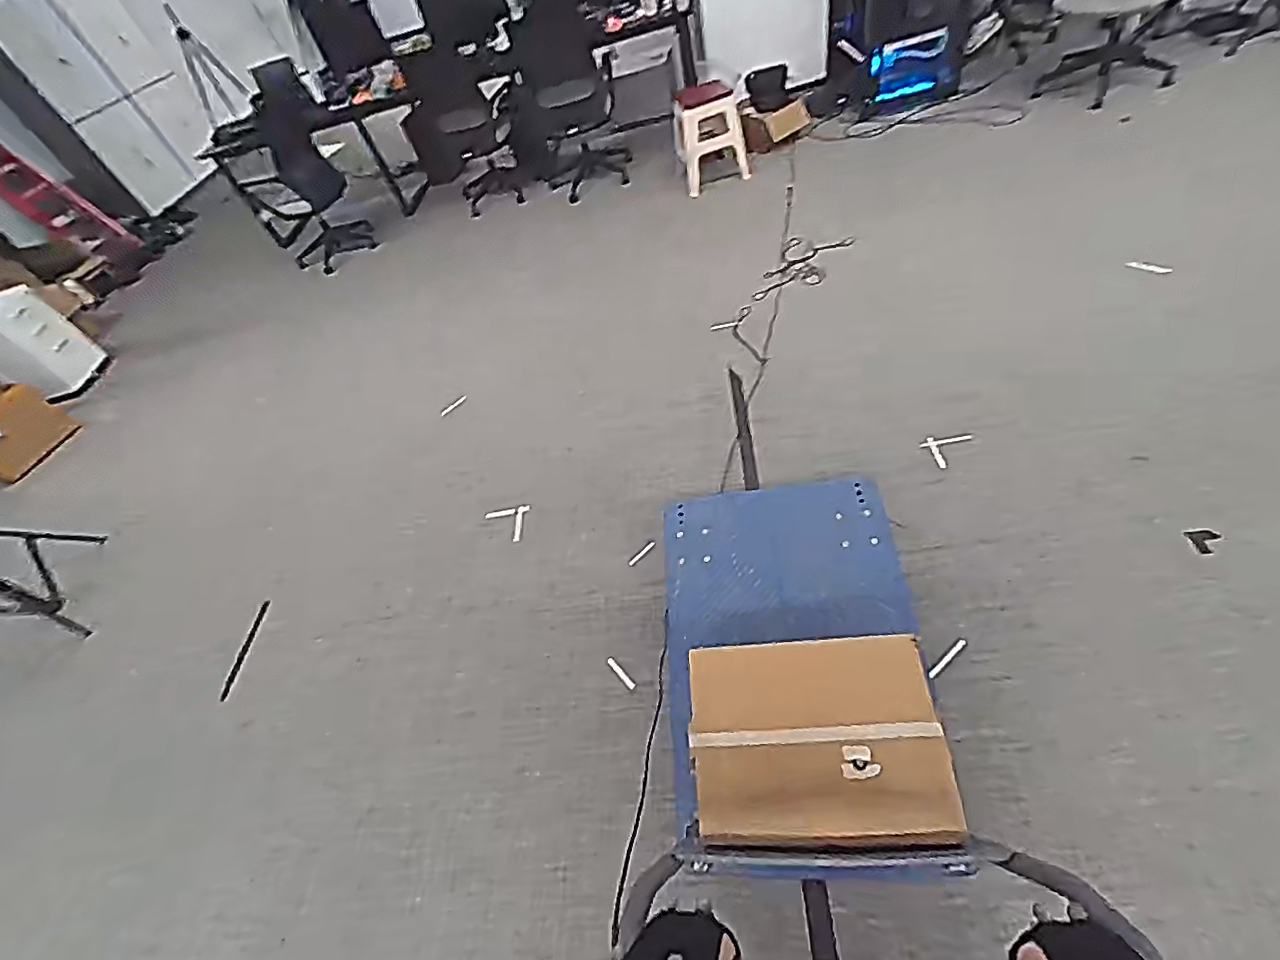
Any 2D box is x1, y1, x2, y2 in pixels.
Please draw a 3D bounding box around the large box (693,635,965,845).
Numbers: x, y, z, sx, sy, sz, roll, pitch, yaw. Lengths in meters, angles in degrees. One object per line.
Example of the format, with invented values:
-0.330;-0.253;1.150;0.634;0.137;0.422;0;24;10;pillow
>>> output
0.329;0.513;1.053;0.408;0.320;0.320;-7;58;10;large box
